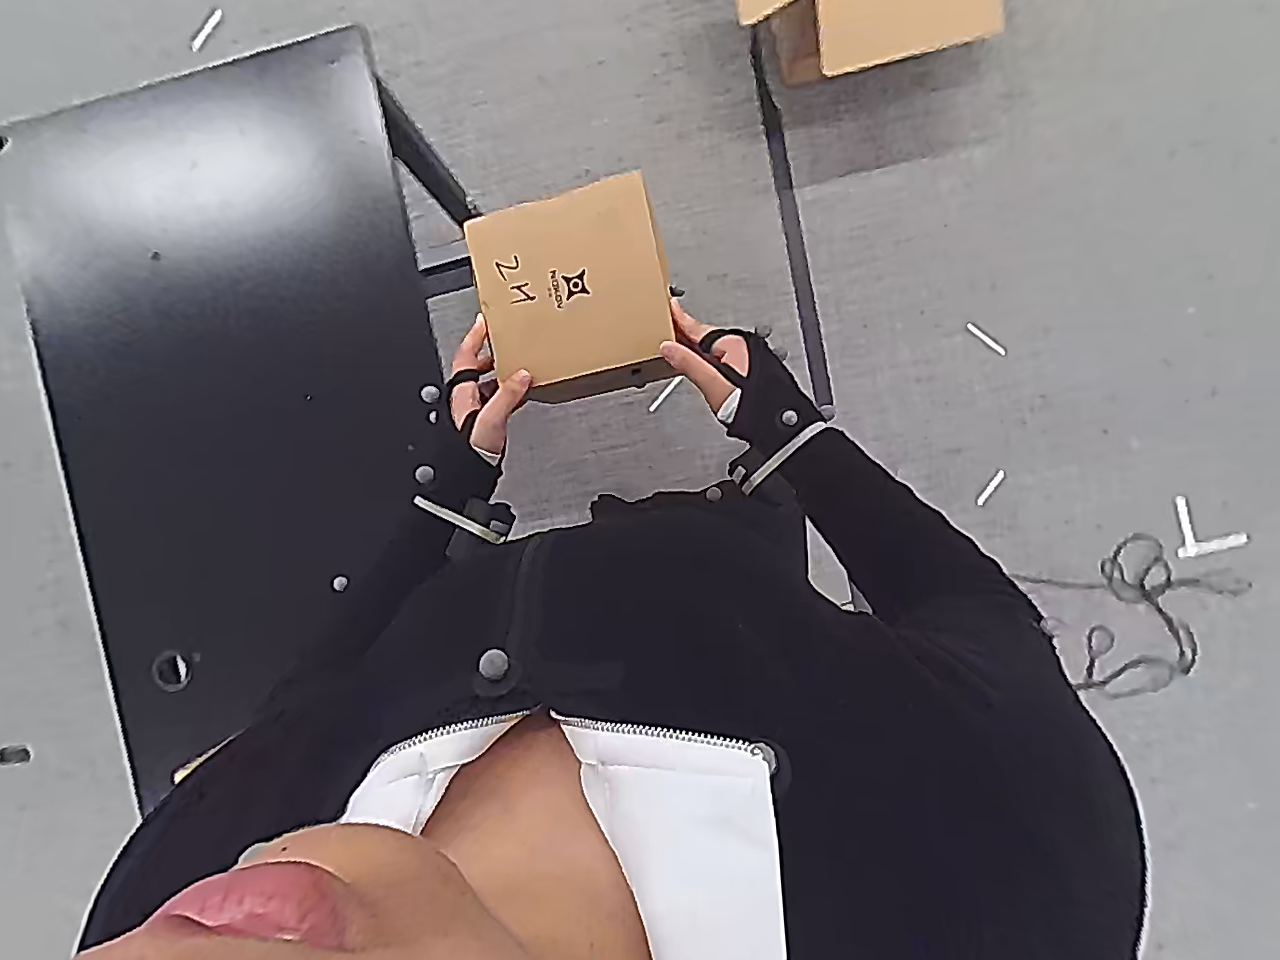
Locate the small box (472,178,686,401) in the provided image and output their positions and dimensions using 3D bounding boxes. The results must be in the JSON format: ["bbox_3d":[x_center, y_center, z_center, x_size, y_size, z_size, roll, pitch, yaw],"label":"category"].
[{"bbox_3d":[-0.049,-0.184,0.578,0.179,0.176,0.168,-10,93,10],"label":"small box"}]

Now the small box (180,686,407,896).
[{"bbox_3d":[-0.451,0.403,0.729,0.179,0.176,0.168,-15,91,3],"label":"small box"}]
